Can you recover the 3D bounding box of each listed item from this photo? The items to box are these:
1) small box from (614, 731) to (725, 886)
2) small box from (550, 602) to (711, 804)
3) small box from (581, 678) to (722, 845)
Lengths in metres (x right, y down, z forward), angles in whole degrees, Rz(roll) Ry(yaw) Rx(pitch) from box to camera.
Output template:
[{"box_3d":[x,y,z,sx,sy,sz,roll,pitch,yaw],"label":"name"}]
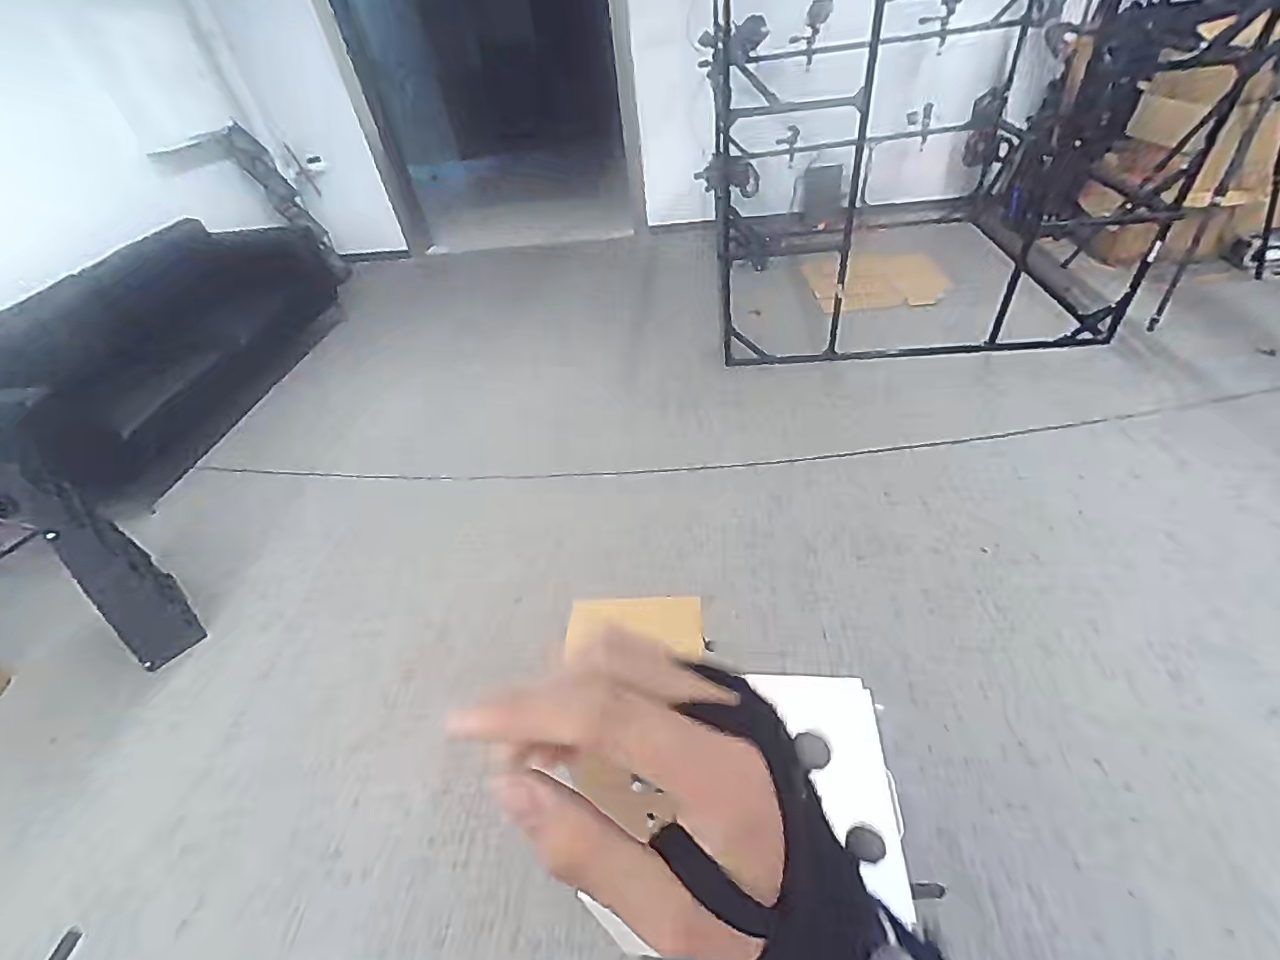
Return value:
[{"box_3d":[0.052,0.523,0.878,0.168,0.176,0.179,0,41,10],"label":"small box"},{"box_3d":[0.001,0.272,0.671,0.168,0.176,0.179,-3,40,8],"label":"small box"},{"box_3d":[0.027,0.400,0.772,0.179,0.176,0.168,-4,40,8],"label":"small box"}]
